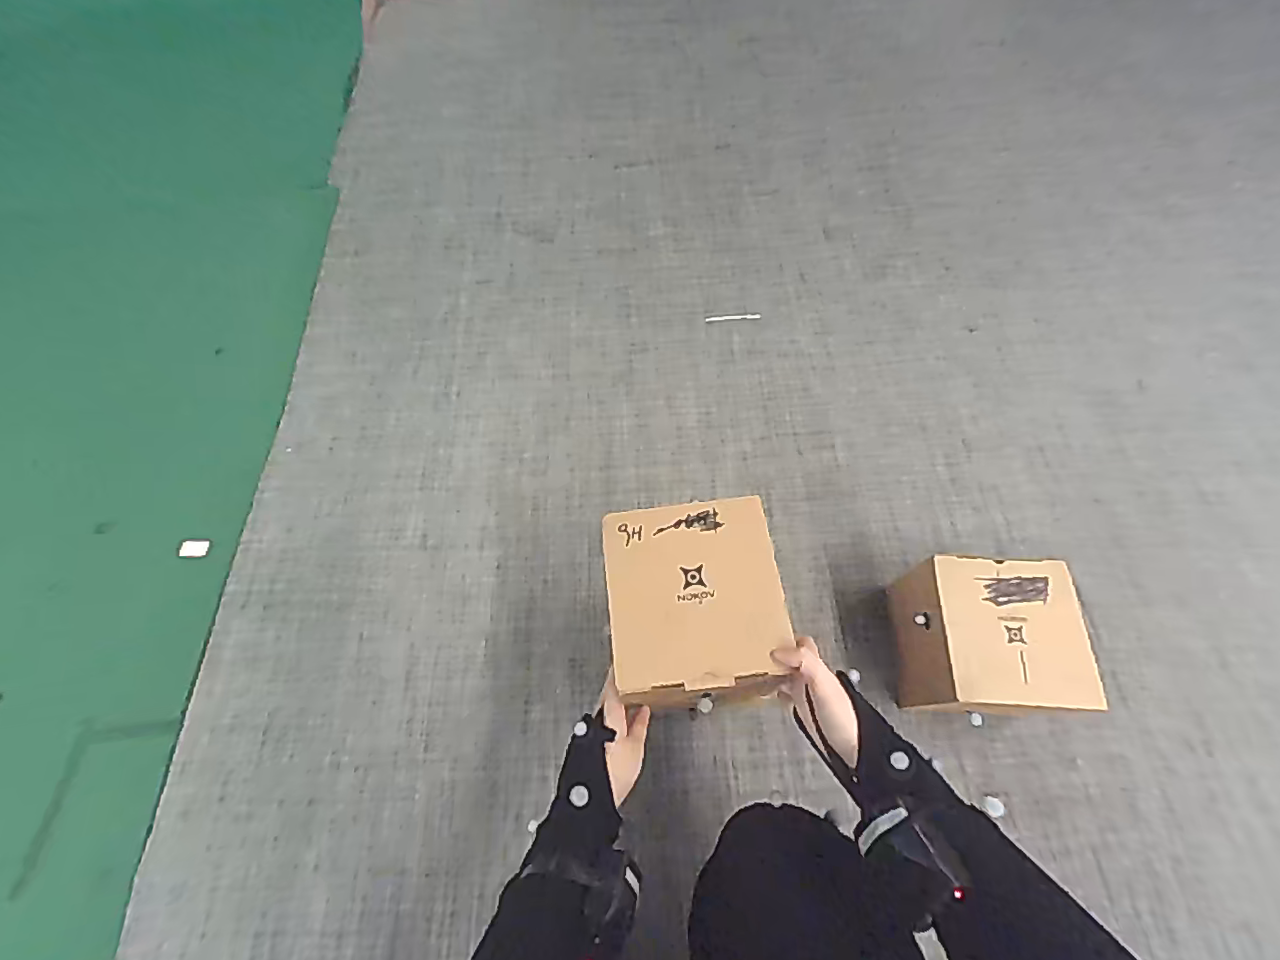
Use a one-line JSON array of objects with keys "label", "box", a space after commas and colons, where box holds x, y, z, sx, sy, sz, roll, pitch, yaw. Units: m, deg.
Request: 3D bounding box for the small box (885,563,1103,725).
[{"label": "small box", "box": [0.445, 0.222, 0.717, 0.168, 0.176, 0.179, 2, 64, 3]}]

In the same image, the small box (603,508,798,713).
[{"label": "small box", "box": [0.054, 0.148, 0.579, 0.168, 0.176, 0.179, -6, 63, -1]}]
